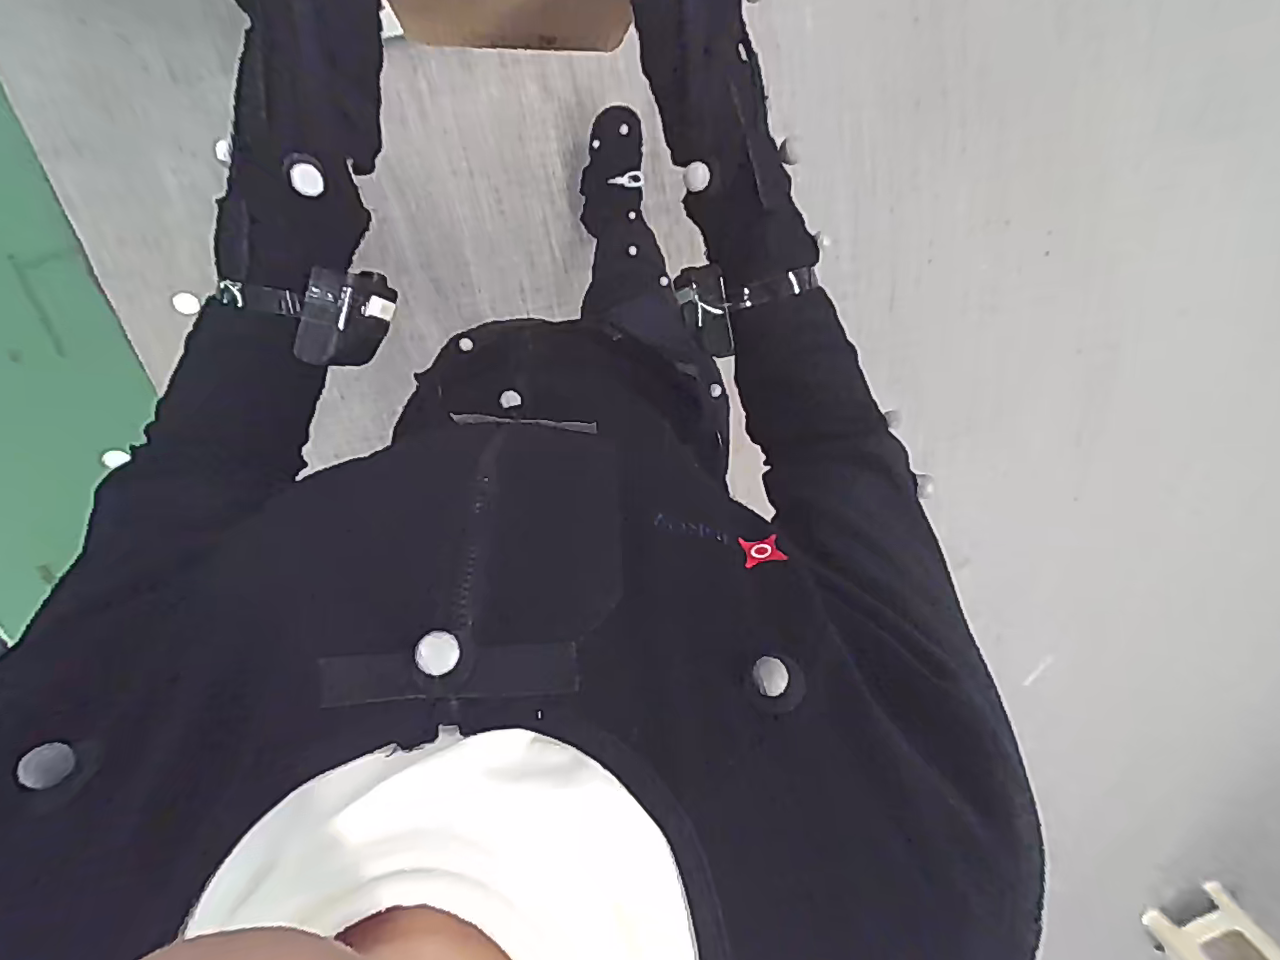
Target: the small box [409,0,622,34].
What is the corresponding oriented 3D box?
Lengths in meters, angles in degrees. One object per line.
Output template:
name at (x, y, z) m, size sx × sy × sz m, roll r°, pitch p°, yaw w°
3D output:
small box at (-0.087, -0.412, 0.325) m, size 0.168 × 0.176 × 0.179 m, roll -5°, pitch 112°, yaw -9°
